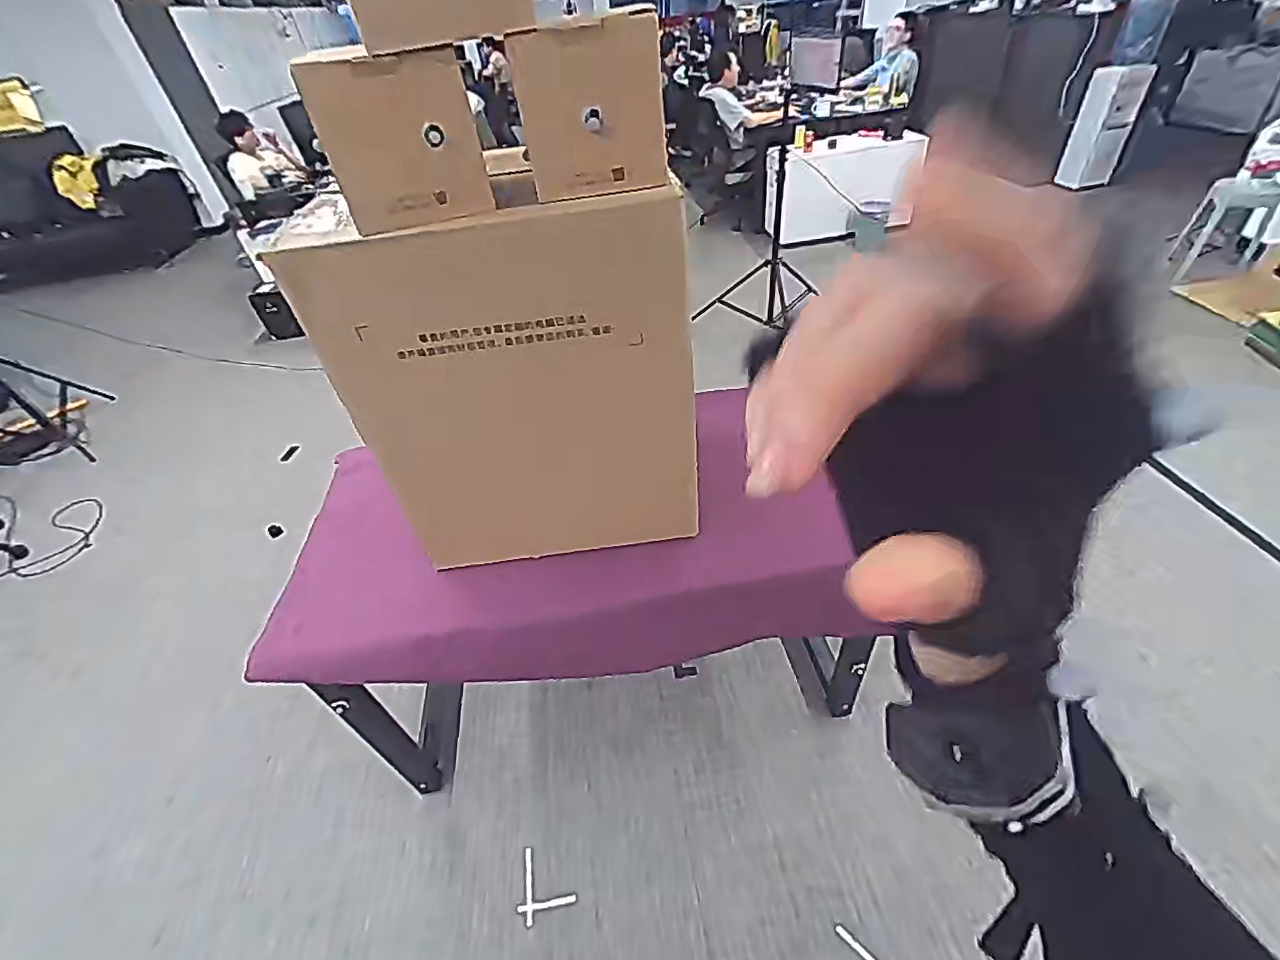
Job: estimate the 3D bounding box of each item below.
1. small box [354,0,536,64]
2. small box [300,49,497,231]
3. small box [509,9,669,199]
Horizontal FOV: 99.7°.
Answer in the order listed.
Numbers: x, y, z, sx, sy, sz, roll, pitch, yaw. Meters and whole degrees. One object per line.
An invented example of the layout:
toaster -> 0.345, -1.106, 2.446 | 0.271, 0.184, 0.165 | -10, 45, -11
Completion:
small box -> -0.211, -0.553, 0.556 | 0.179, 0.176, 0.168 | -15, 44, -5
small box -> -0.285, -0.423, 0.671 | 0.168, 0.176, 0.179 | -16, 42, -11
small box -> -0.057, -0.470, 0.685 | 0.168, 0.176, 0.179 | -7, 43, 0
